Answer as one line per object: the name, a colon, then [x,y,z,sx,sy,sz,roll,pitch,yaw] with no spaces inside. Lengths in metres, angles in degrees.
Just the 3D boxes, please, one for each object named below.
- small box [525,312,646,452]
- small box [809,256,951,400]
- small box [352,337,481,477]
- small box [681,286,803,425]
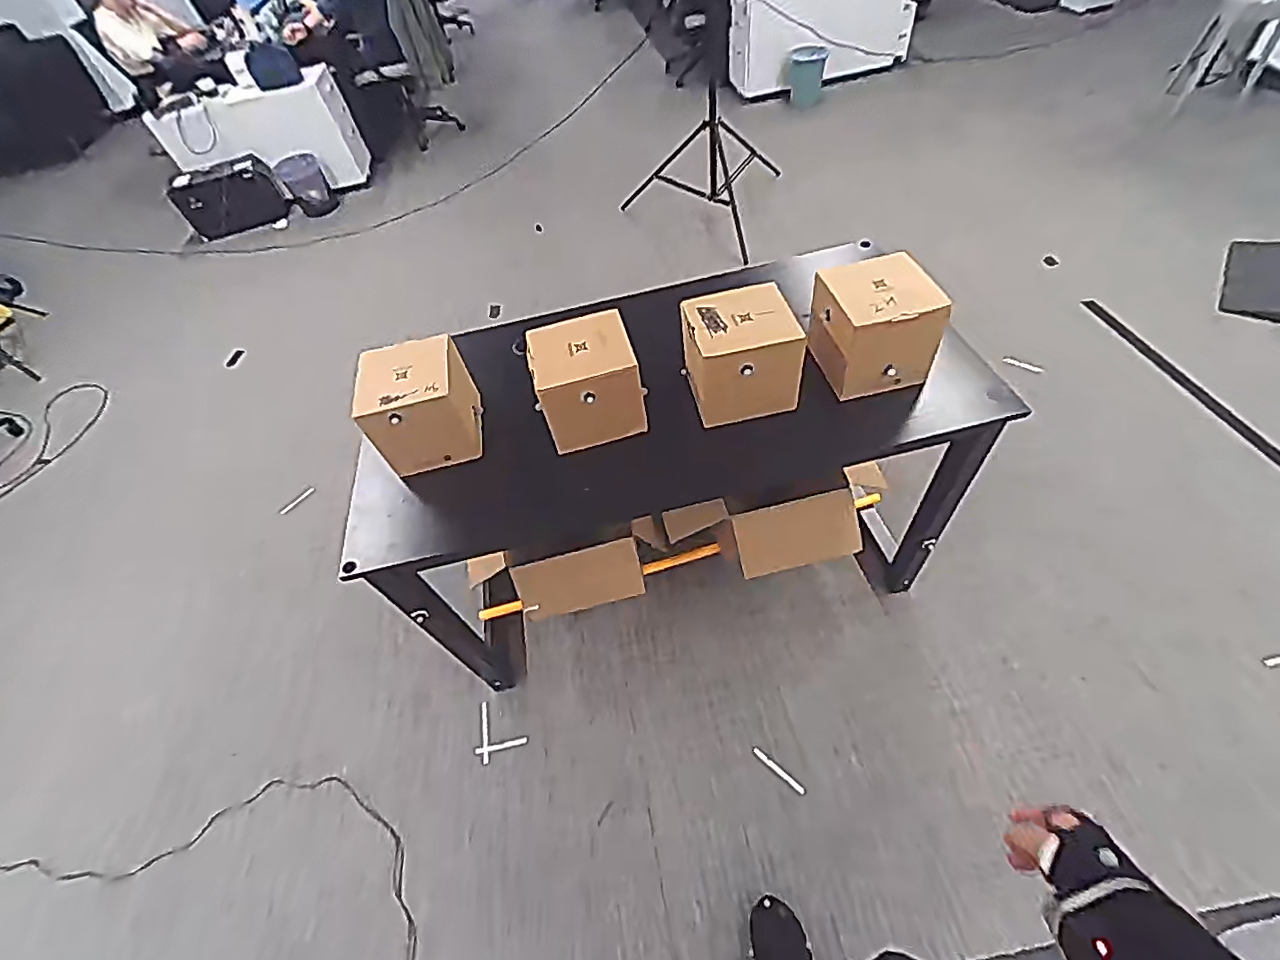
small box: [-0.097,-0.174,0.995,0.179,0.176,0.168,-15,53,-3]
small box: [0.419,-0.273,0.982,0.168,0.176,0.179,-12,52,1]
small box: [-0.405,-0.134,1.011,0.168,0.176,0.179,-14,52,-2]
small box: [0.179,-0.220,0.981,0.179,0.176,0.168,-11,52,0]
